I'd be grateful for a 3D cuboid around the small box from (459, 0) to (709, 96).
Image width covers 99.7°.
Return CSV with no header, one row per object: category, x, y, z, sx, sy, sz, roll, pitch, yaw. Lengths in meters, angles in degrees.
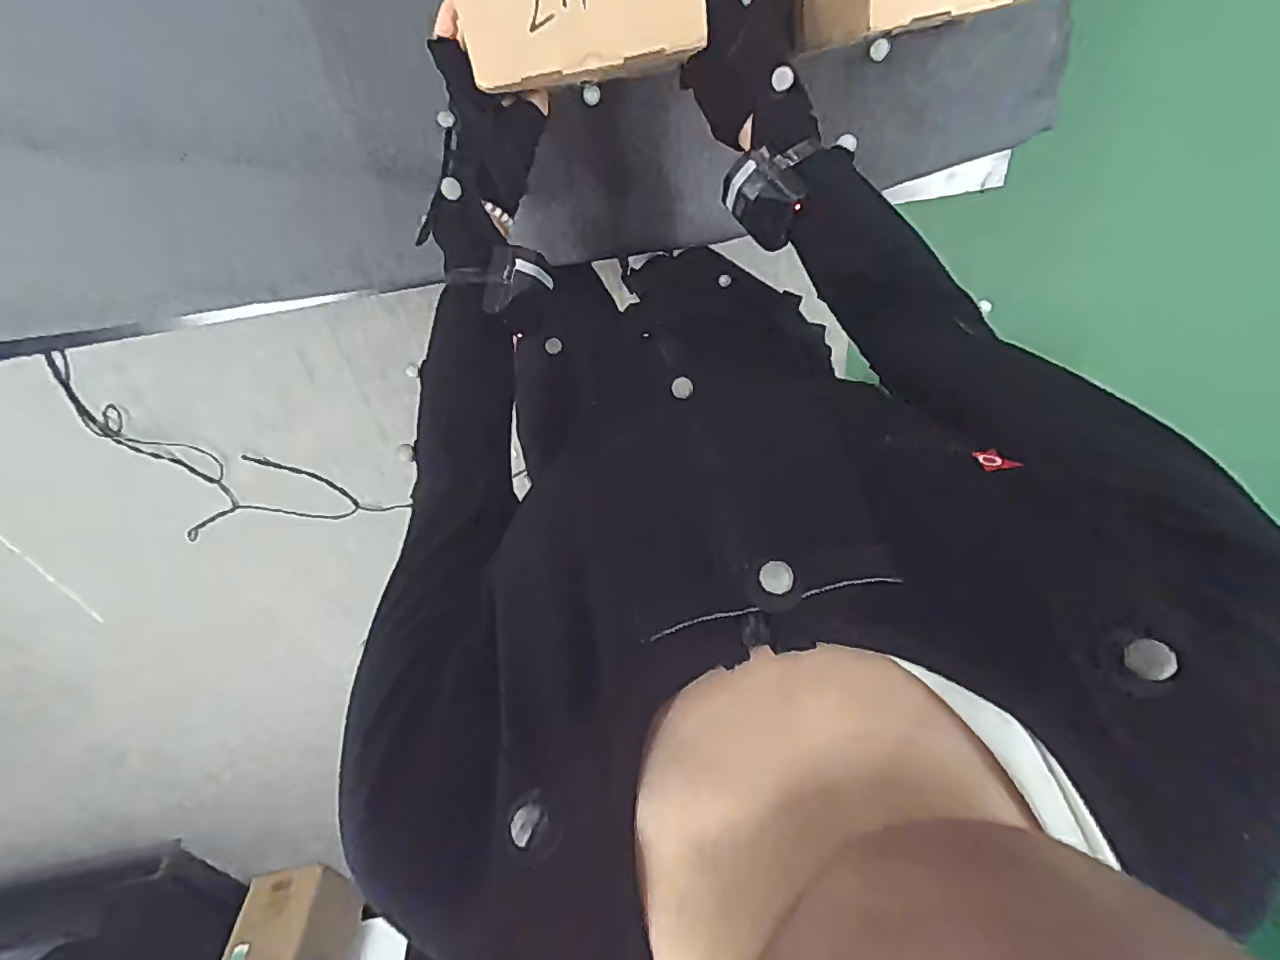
small box,-0.052,-0.403,0.395,0.168,0.176,0.179,-10,124,0
